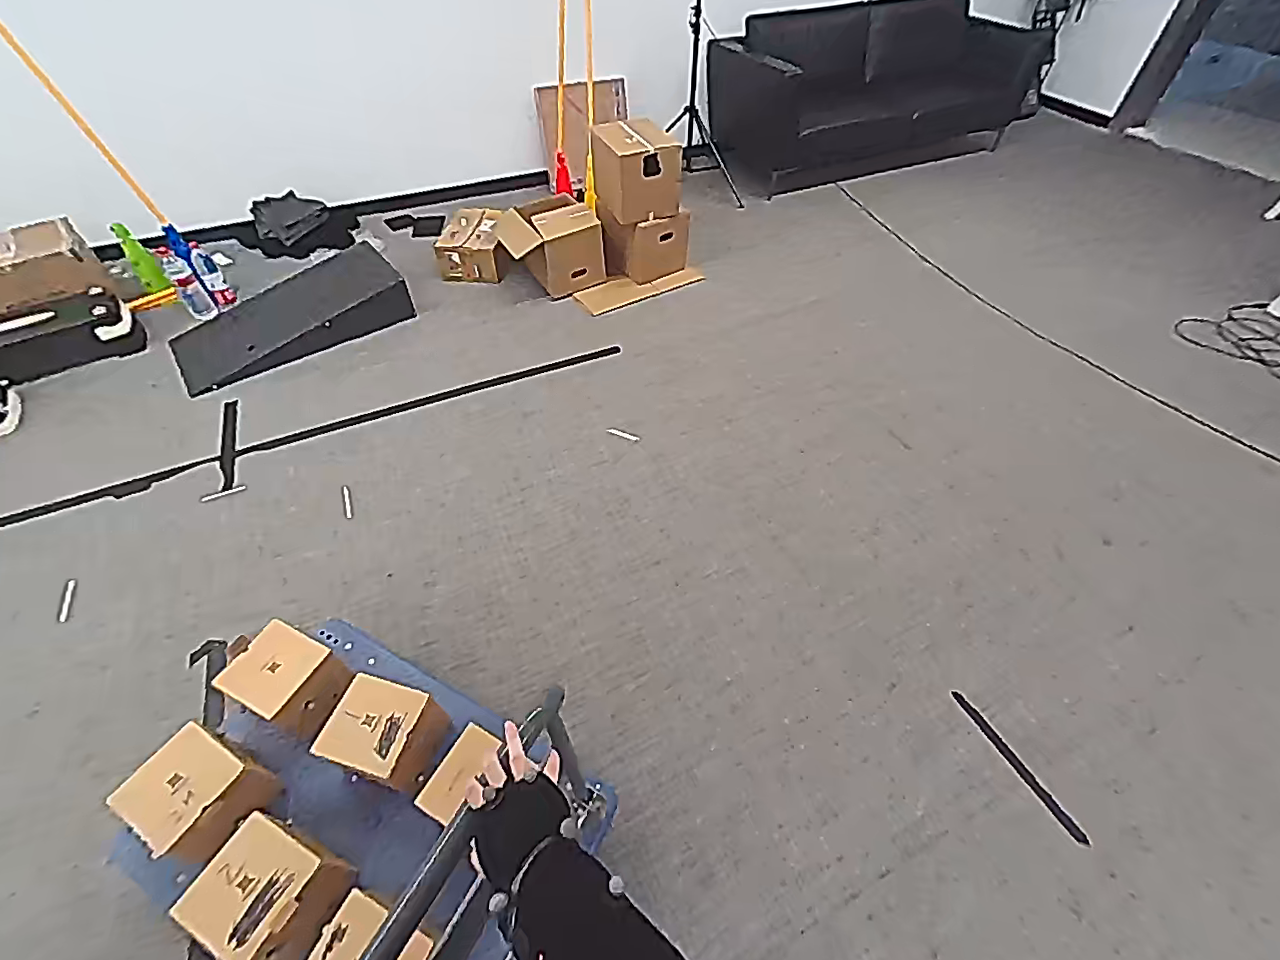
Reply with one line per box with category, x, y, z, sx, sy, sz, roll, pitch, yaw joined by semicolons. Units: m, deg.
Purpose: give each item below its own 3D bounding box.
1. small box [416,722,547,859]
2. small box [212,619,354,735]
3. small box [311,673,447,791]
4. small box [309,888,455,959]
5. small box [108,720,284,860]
small box;-0.304;0.625;1.083;0.179;0.176;0.168;23;52;17
small box;-0.787;0.449;1.216;0.179;0.176;0.168;20;52;15
small box;-0.538;0.539;1.147;0.179;0.176;0.168;12;50;10
small box;-0.439;0.824;0.905;0.179;0.176;0.168;20;51;14
small box;-0.862;0.616;1.068;0.179;0.176;0.168;25;53;17
